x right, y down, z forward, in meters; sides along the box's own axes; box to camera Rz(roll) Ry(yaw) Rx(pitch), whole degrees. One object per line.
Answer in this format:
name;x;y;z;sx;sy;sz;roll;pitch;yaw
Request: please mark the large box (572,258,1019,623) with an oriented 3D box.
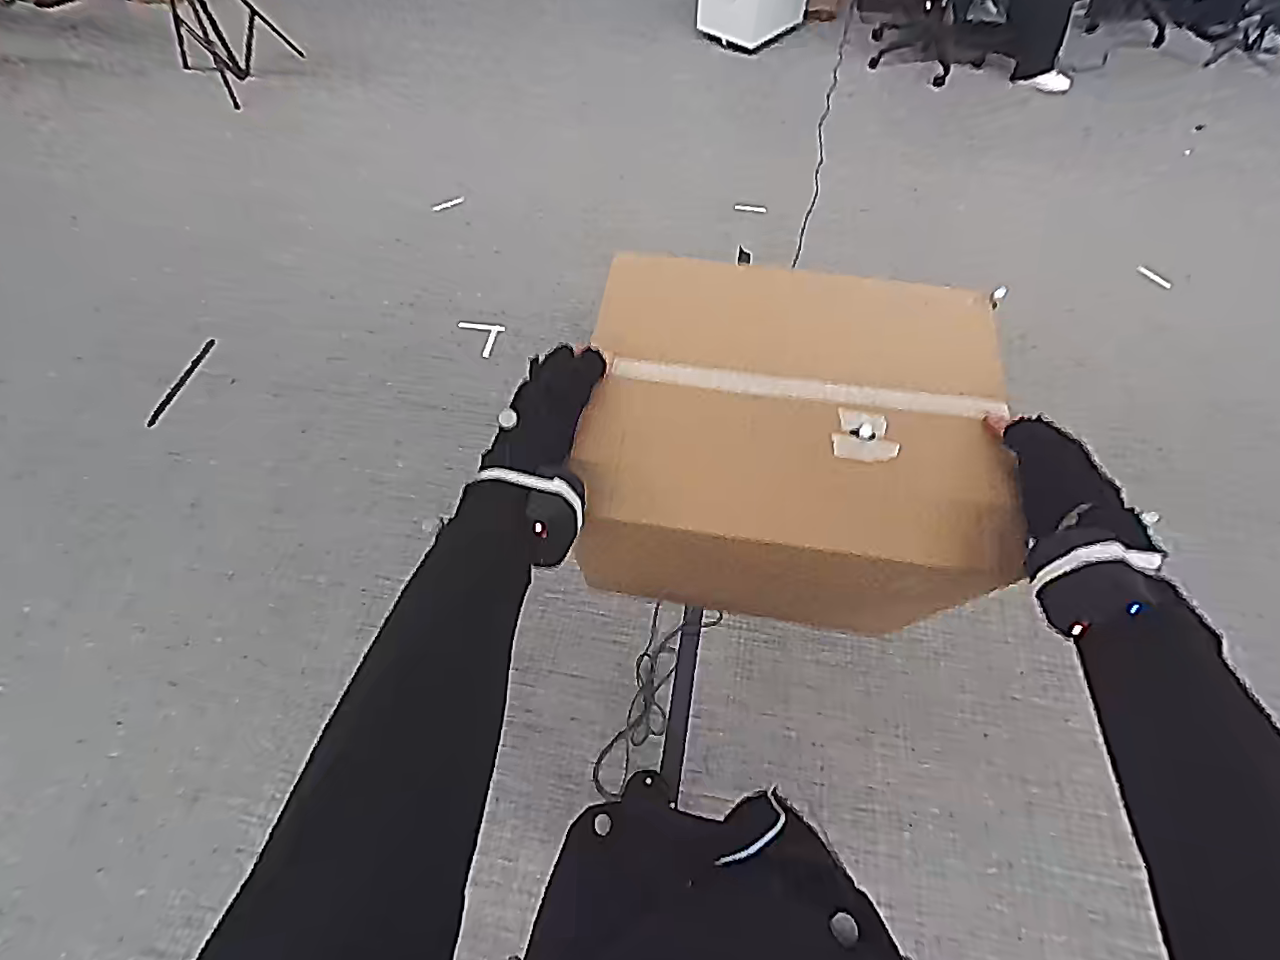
large box;0.154;-0.029;0.672;0.408;0.320;0.320;9;67;4
